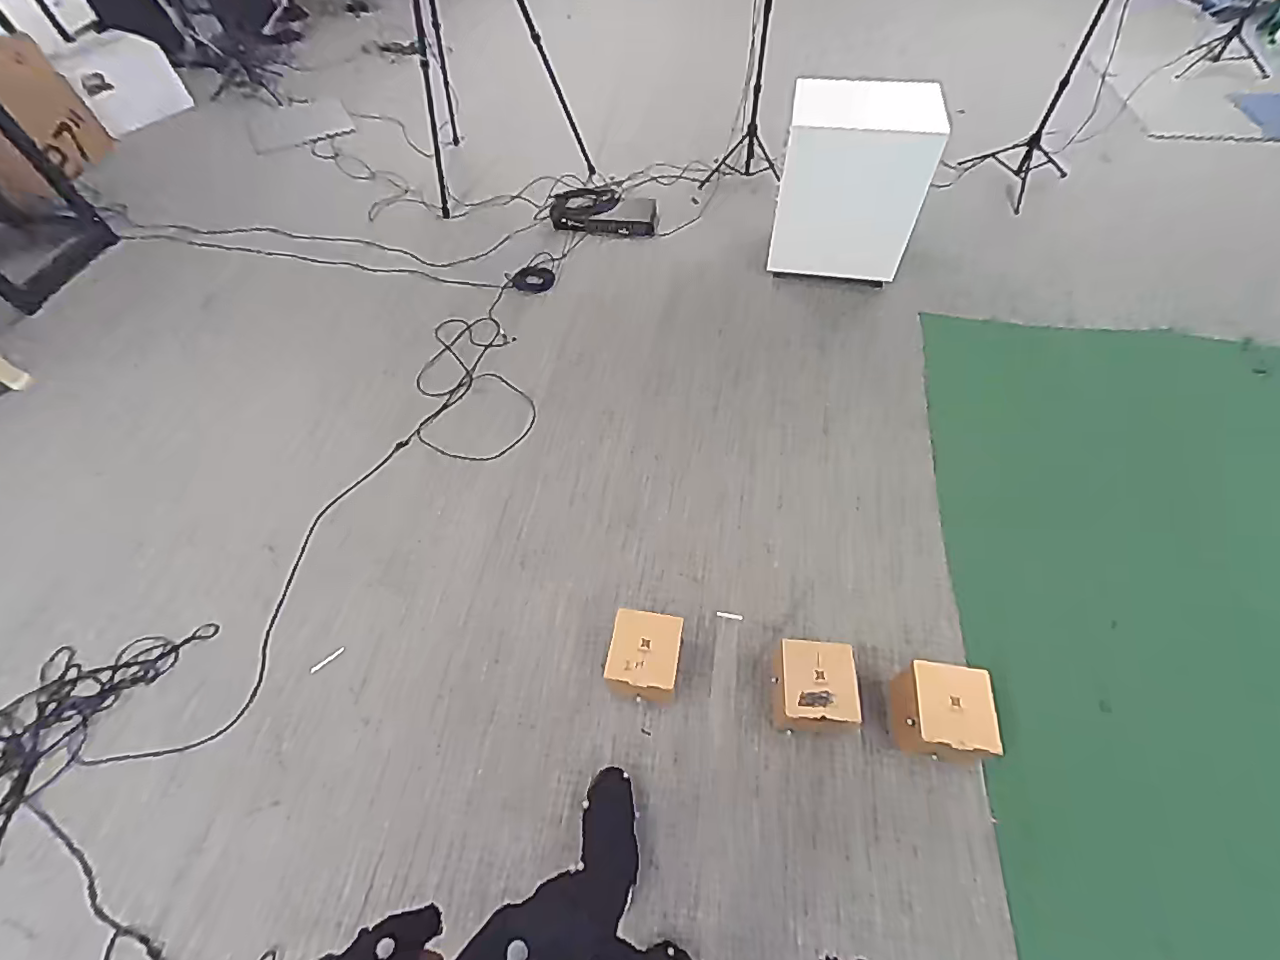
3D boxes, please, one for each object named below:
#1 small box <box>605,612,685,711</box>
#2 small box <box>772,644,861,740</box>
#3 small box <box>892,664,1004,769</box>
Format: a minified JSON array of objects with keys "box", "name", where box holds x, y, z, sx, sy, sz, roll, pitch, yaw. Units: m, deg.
[{"box":[0.018,0.453,1.344,0.168,0.176,0.179,7,56,9],"name":"small box"},{"box":[0.412,0.510,1.291,0.168,0.176,0.179,4,54,4],"name":"small box"},{"box":[0.700,0.550,1.253,0.168,0.176,0.179,6,55,7],"name":"small box"}]
